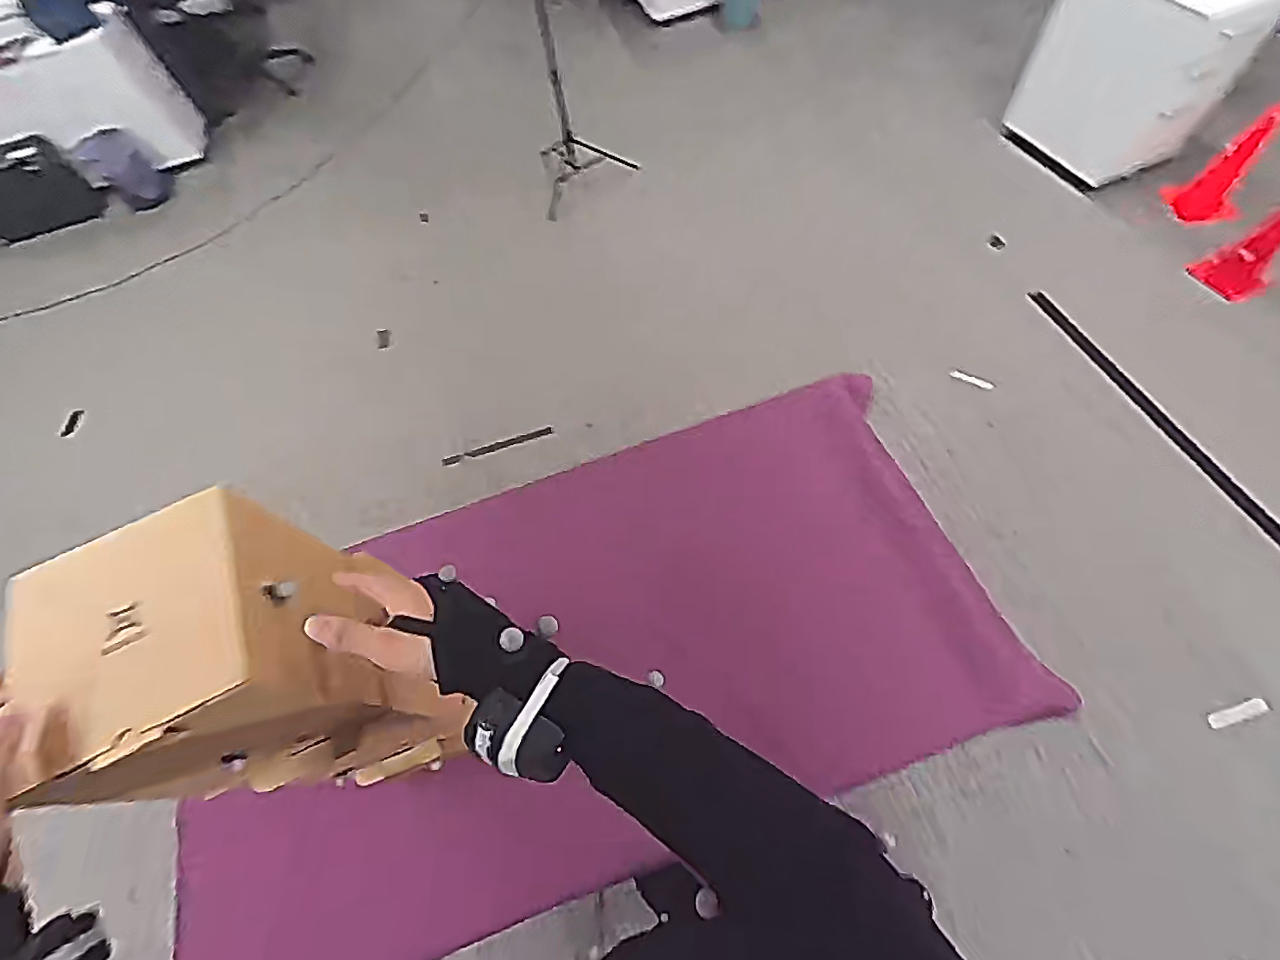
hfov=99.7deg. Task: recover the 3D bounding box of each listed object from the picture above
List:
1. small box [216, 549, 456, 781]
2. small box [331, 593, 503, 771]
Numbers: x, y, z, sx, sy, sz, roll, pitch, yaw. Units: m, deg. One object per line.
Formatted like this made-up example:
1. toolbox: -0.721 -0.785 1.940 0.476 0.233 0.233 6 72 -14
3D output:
1. small box: -0.326 0.208 0.603 0.168 0.176 0.179 -23 62 -5
2. small box: -0.307 0.284 0.748 0.168 0.176 0.179 -20 62 -3
